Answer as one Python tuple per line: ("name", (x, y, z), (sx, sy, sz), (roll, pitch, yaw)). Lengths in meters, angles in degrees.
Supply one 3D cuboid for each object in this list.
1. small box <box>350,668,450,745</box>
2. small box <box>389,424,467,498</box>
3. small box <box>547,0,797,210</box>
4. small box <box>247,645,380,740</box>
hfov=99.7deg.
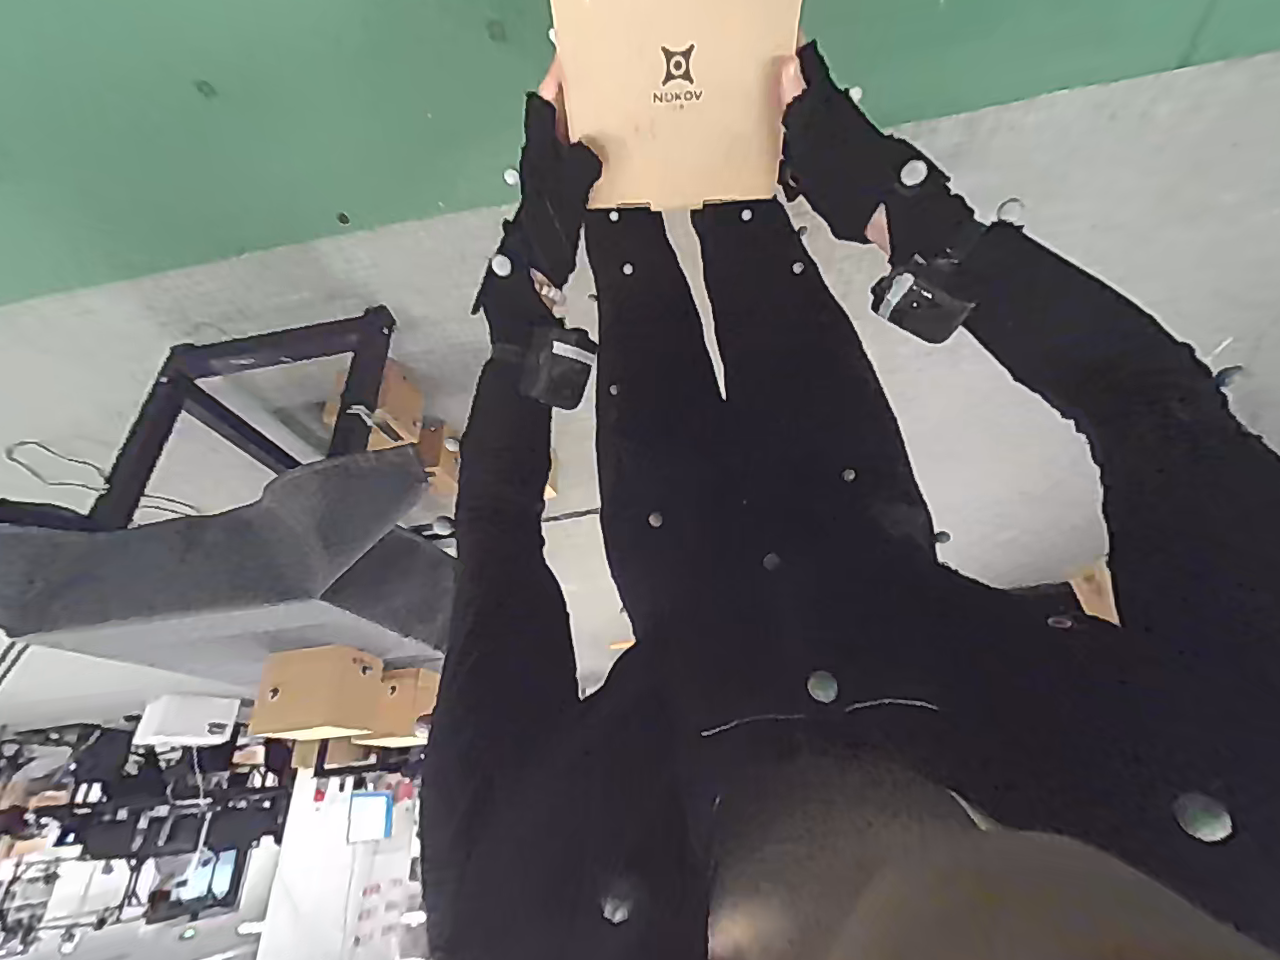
("small box", (-0.623, 0.600, 1.432), (0.168, 0.176, 0.179), (-10, 149, 10))
("small box", (-0.668, -0.065, 1.724), (0.168, 0.176, 0.179), (-9, 151, 7))
("small box", (0.021, -0.348, 0.437), (0.168, 0.176, 0.179), (-2, 144, 1))
("small box", (-0.707, 0.471, 1.194), (0.179, 0.176, 0.168), (-9, 151, 8))
